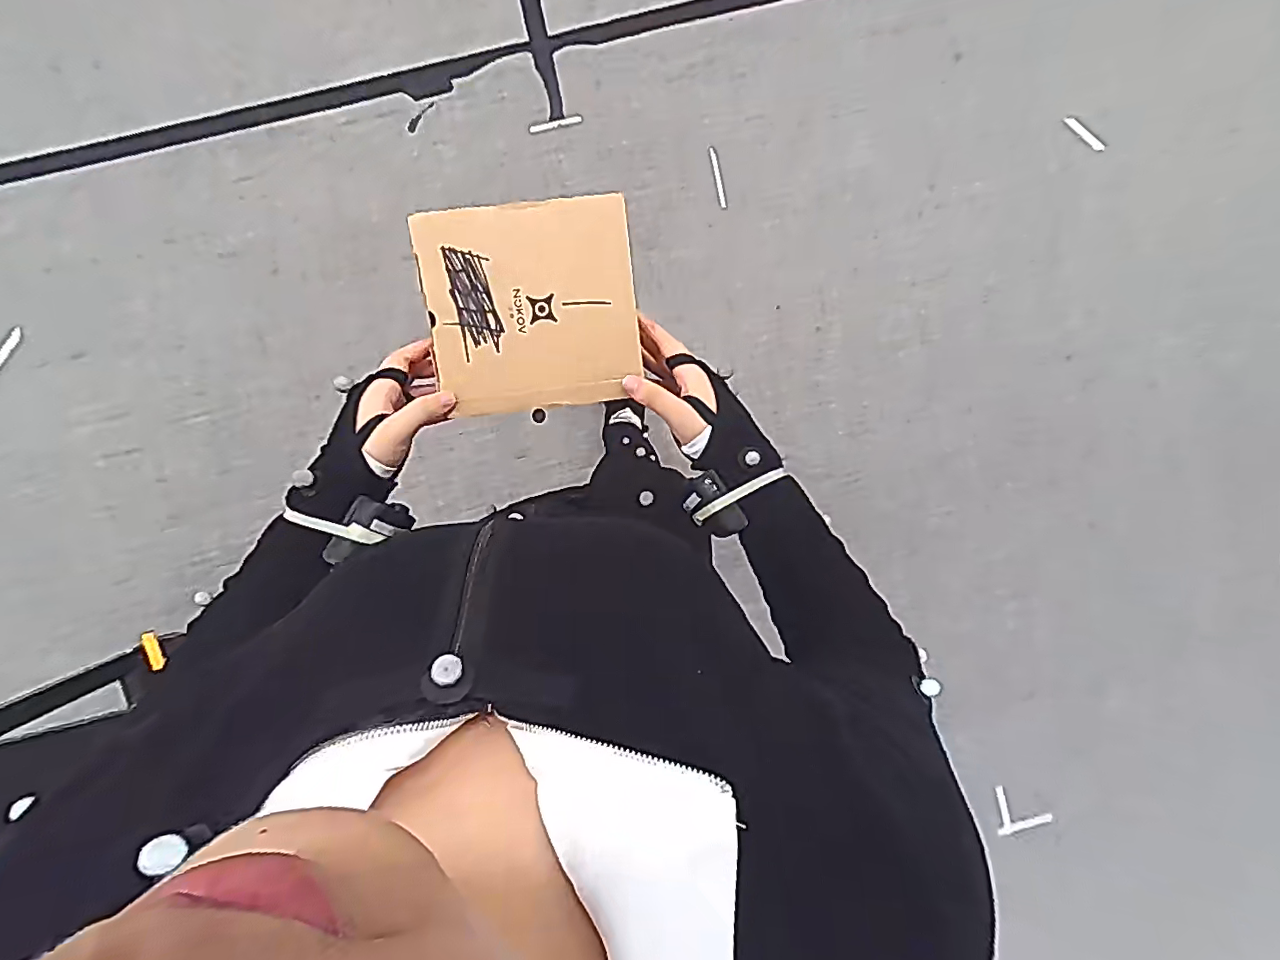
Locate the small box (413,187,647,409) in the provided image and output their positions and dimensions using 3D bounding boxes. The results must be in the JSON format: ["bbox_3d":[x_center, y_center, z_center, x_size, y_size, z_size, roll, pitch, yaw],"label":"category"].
[{"bbox_3d":[-0.091,-0.160,0.524,0.179,0.176,0.168,-7,101,-3],"label":"small box"}]
